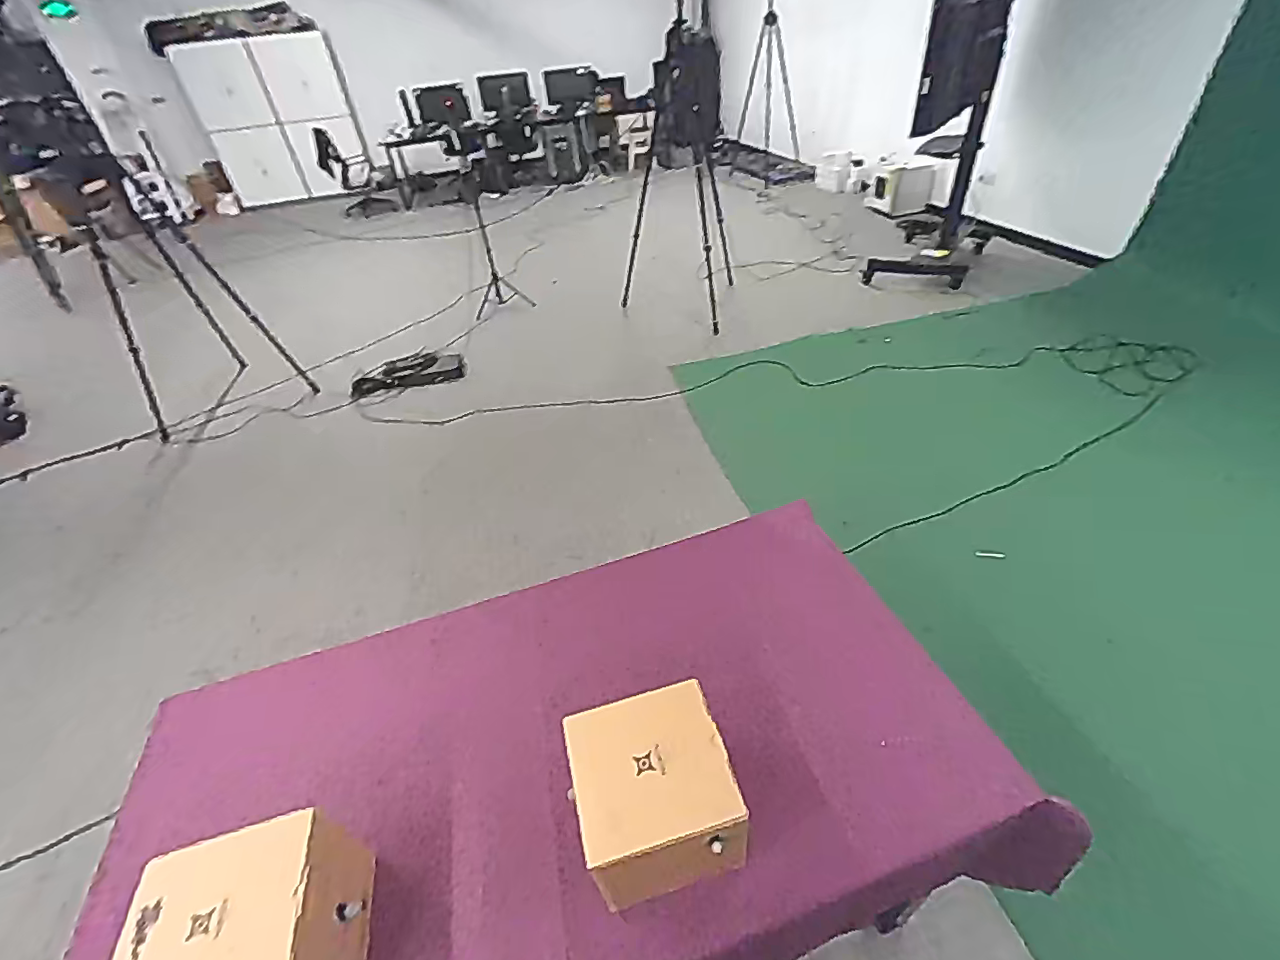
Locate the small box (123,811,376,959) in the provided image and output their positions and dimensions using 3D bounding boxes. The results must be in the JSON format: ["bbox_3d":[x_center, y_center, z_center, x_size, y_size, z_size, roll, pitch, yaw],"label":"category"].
[{"bbox_3d":[-0.411,0.502,0.590,0.179,0.176,0.168,-14,40,-9],"label":"small box"}]

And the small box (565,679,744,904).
[{"bbox_3d":[0.018,0.382,0.665,0.179,0.176,0.168,-14,40,-8],"label":"small box"}]
